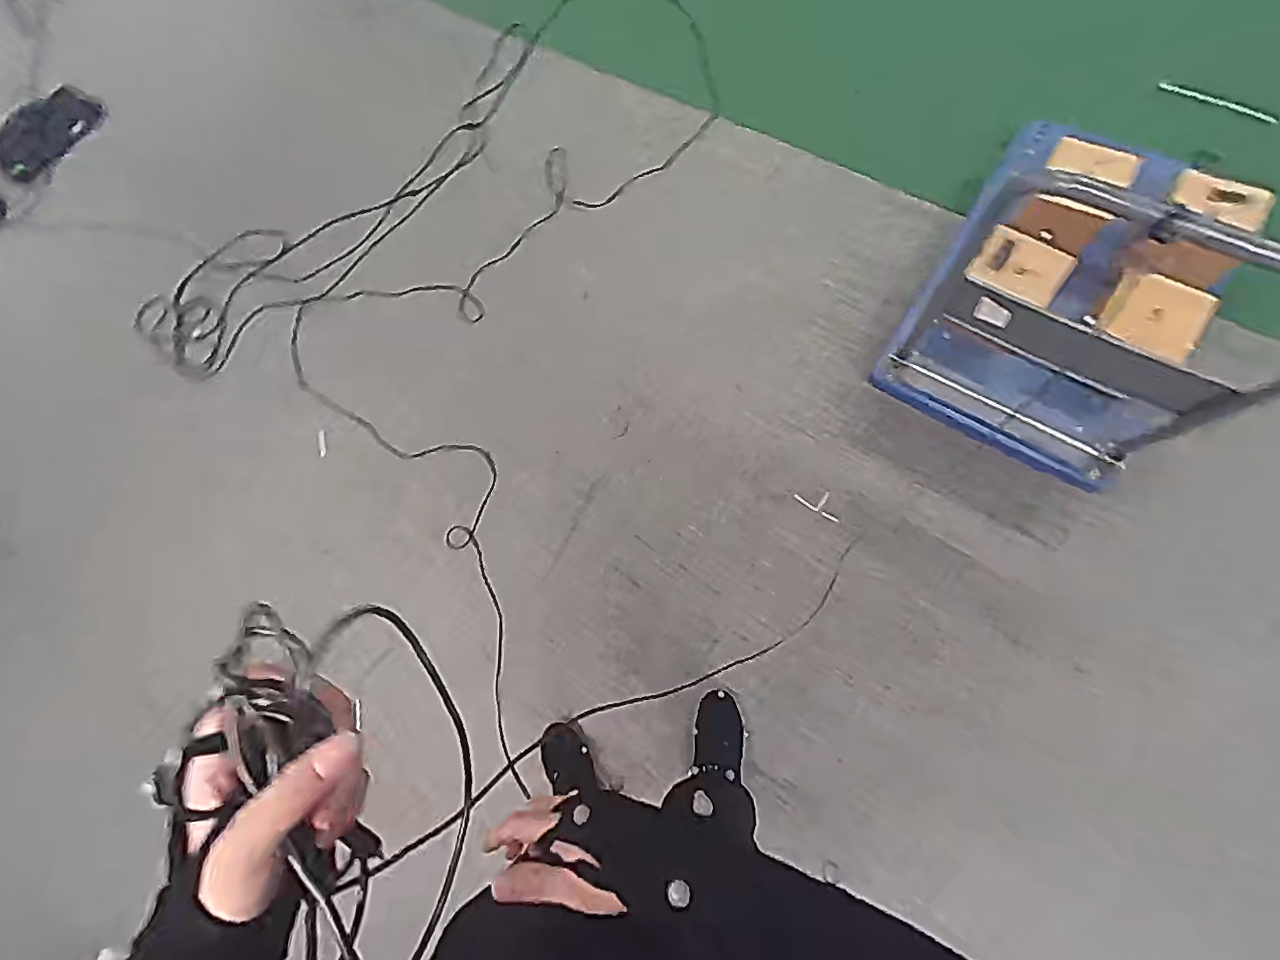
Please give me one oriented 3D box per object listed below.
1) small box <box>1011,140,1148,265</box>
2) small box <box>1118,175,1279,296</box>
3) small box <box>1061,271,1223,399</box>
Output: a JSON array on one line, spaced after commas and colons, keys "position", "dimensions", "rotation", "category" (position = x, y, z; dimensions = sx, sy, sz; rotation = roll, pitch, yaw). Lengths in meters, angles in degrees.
[{"position": [1.023, -0.647, 1.278], "dimensions": [0.168, 0.176, 0.179], "rotation": [30, 83, 15], "category": "small box"}, {"position": [1.234, -0.529, 1.209], "dimensions": [0.168, 0.176, 0.179], "rotation": [30, 84, 17], "category": "small box"}, {"position": [1.079, -0.310, 1.182], "dimensions": [0.168, 0.176, 0.179], "rotation": [34, 85, 16], "category": "small box"}]
